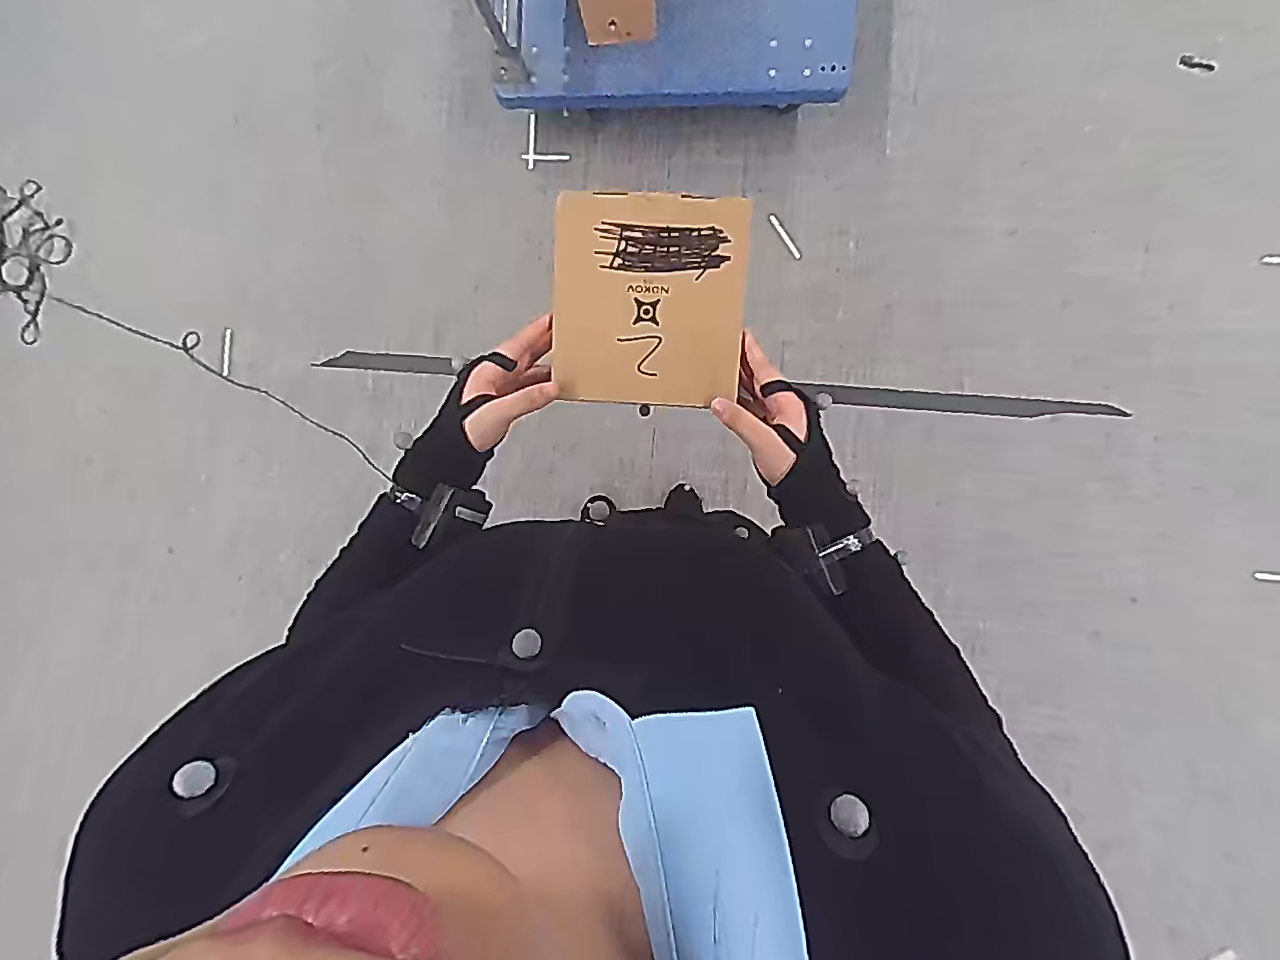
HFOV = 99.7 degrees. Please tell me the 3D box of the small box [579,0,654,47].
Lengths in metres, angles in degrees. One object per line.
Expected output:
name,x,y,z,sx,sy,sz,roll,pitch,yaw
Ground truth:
small box,-0.056,-1.138,1.226,0.168,0.176,0.179,-1,91,4
